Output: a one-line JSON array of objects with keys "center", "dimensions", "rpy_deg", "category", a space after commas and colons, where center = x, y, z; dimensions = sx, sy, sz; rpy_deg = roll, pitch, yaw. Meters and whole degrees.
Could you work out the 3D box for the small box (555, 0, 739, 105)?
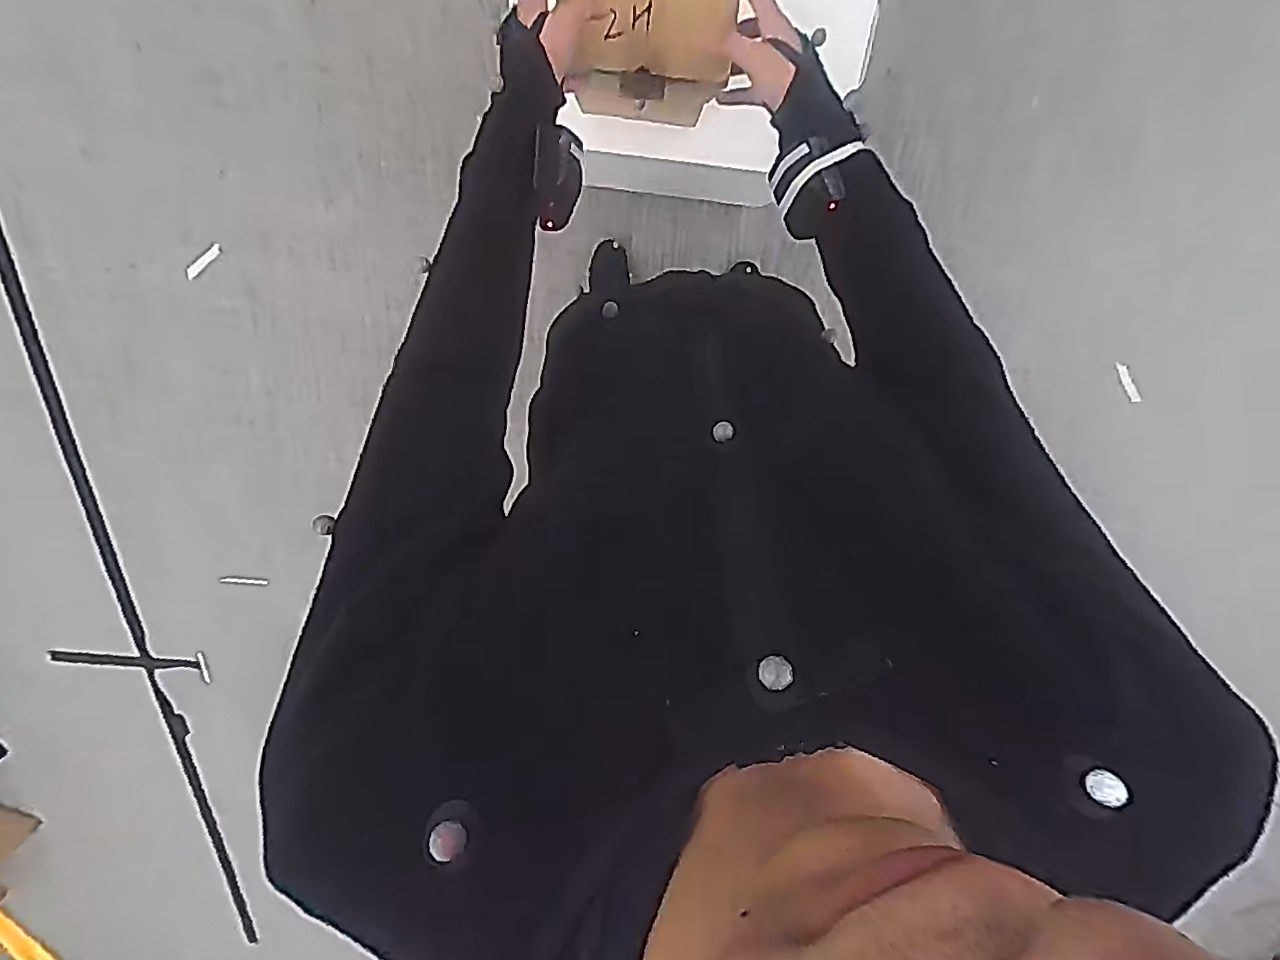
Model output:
[{"center": [0.009, -0.493, 0.535], "dimensions": [0.168, 0.176, 0.179], "rpy_deg": [4, 120, -3], "category": "small box"}]
